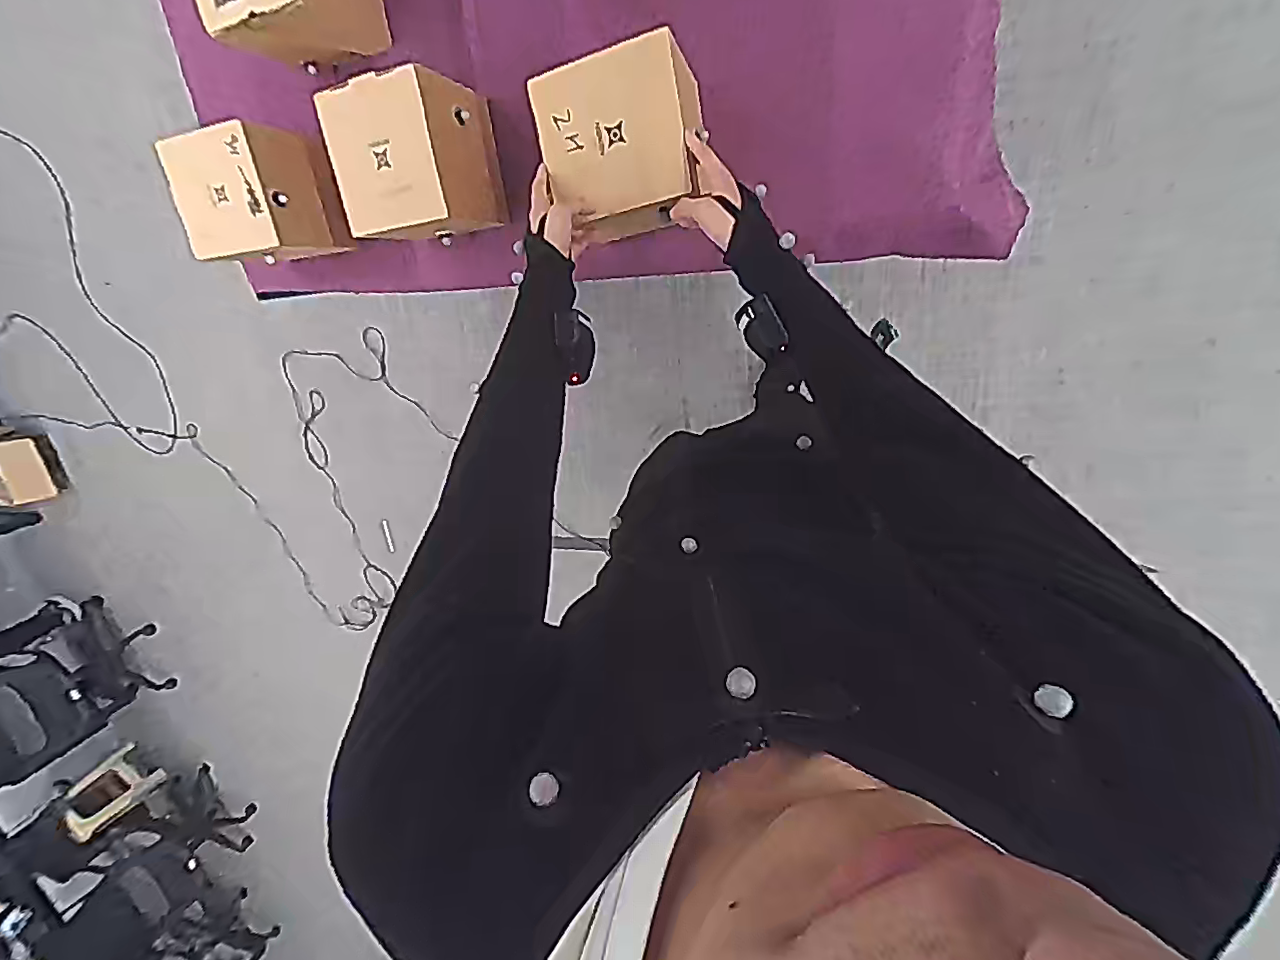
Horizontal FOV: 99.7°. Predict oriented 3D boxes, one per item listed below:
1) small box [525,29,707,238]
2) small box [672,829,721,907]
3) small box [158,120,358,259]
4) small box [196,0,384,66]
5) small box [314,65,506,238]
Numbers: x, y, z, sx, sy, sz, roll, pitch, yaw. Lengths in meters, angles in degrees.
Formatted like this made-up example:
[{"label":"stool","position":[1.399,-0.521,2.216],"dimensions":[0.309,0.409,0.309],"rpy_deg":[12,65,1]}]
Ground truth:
[{"label":"small box","position":[-0.016,-0.422,0.695],"dimensions":[0.179,0.176,0.168],"rpy_deg":[-6,106,19]},{"label":"small box","position":[0.231,1.551,2.169],"dimensions":[0.168,0.176,0.179],"rpy_deg":[-1,108,17]},{"label":"small box","position":[-0.601,-0.452,0.871],"dimensions":[0.179,0.176,0.168],"rpy_deg":[0,111,18]},{"label":"small box","position":[-0.485,-0.701,0.738],"dimensions":[0.168,0.176,0.179],"rpy_deg":[-1,110,17]},{"label":"small box","position":[-0.318,-0.457,0.784],"dimensions":[0.168,0.176,0.179],"rpy_deg":[-1,112,19]}]
